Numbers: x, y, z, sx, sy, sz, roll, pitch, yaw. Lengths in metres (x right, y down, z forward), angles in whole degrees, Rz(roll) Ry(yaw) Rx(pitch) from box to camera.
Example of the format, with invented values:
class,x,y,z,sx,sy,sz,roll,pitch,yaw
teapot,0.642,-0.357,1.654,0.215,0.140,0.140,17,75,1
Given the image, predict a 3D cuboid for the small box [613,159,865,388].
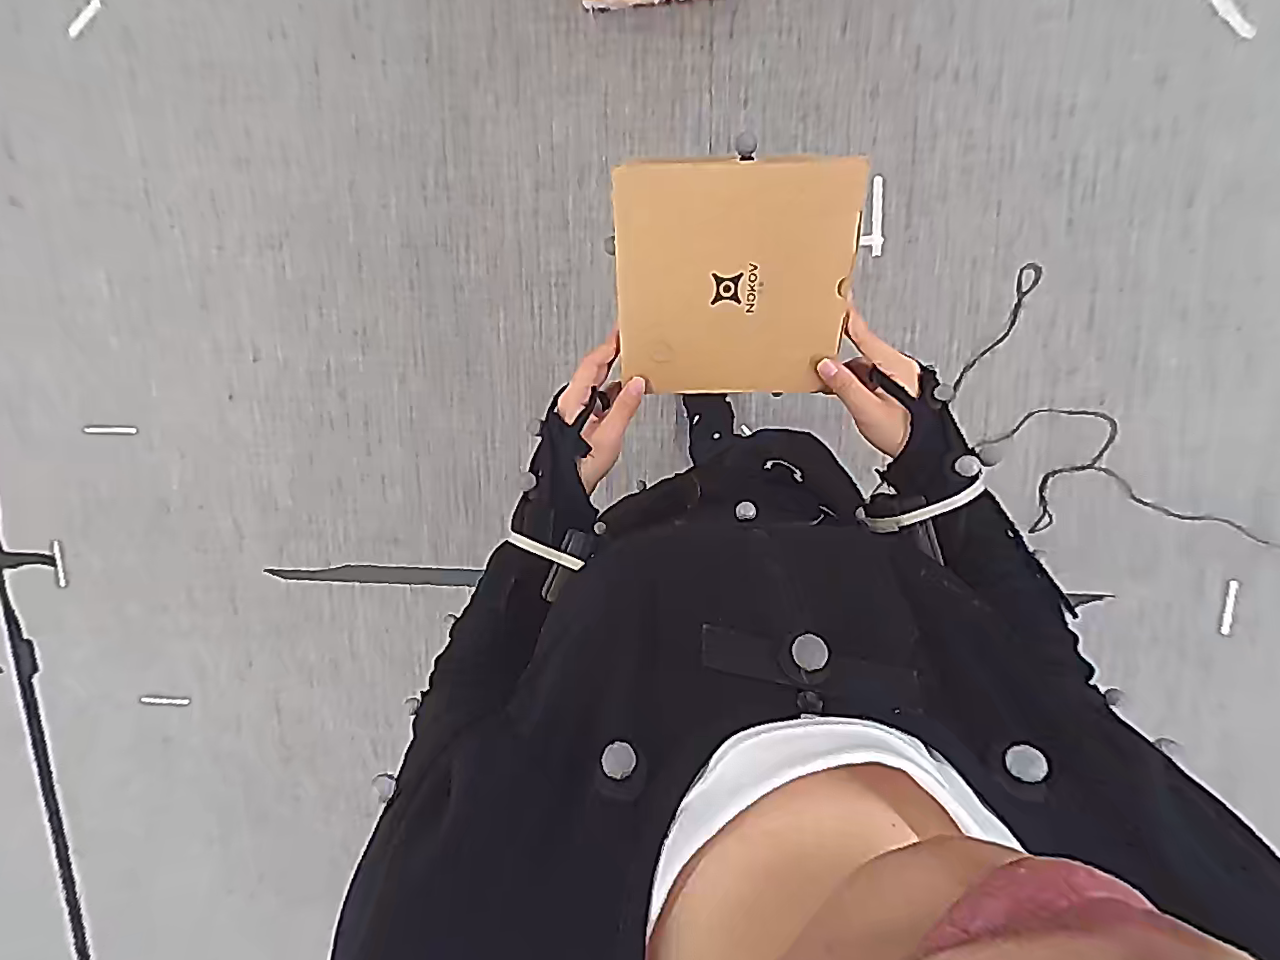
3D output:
class,x,y,z,sx,sy,sz,roll,pitch,yaw
small box,0.073,-0.189,0.483,0.179,0.176,0.168,0,121,2
